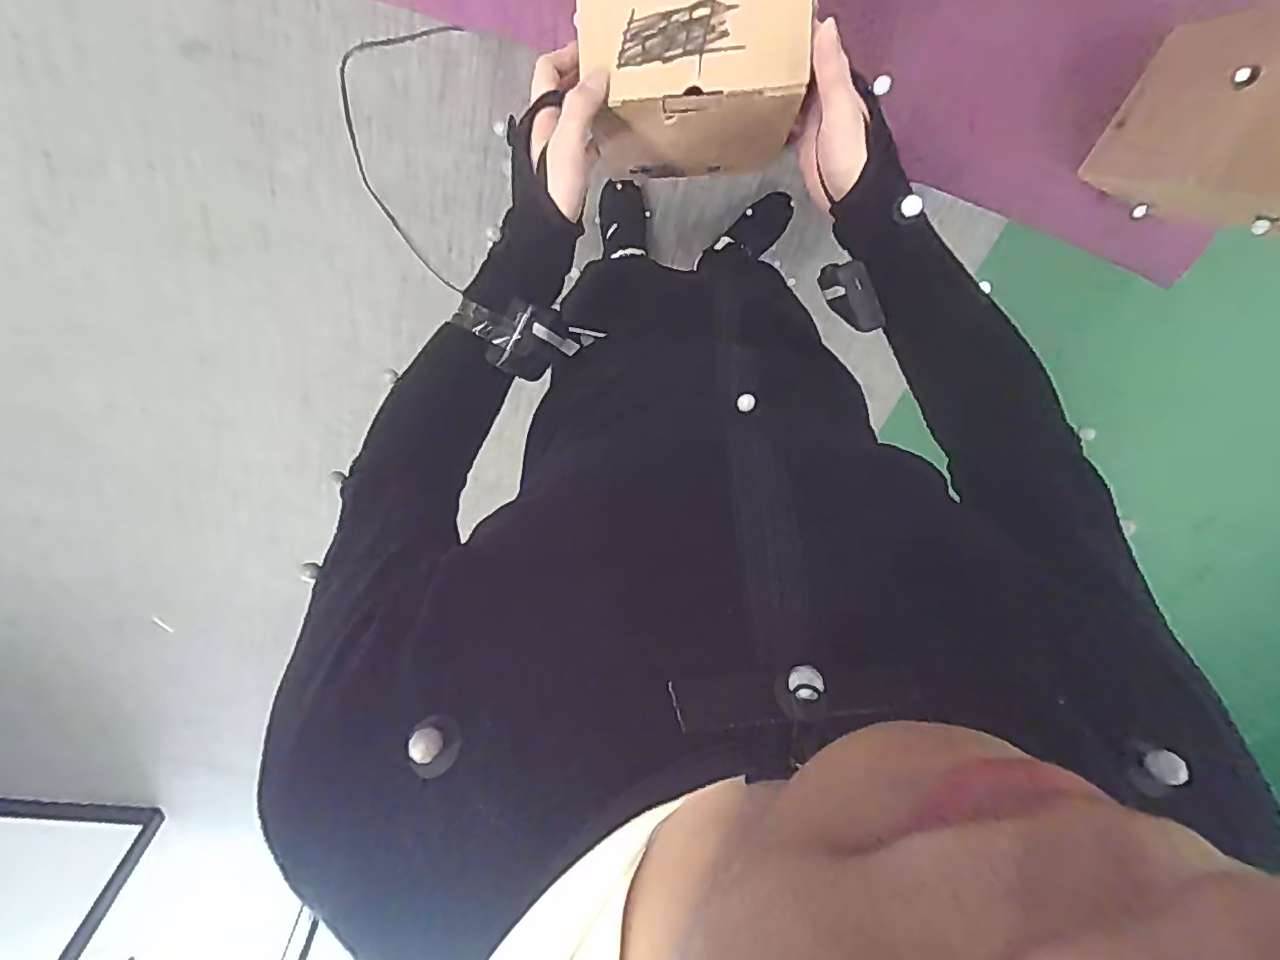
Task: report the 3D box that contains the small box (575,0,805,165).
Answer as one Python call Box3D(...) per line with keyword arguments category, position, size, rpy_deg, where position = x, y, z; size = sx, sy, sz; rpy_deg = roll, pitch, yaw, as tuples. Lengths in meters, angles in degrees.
Box3D(category="small box", position=(0.041, -0.381, 0.452), size=(0.168, 0.176, 0.179), rpy_deg=(0, 103, 4))

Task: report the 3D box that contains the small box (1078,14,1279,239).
Box3D(category="small box", position=(0.683, -0.406, 0.627), size=(0.179, 0.176, 0.168), rpy_deg=(15, 120, -13))
